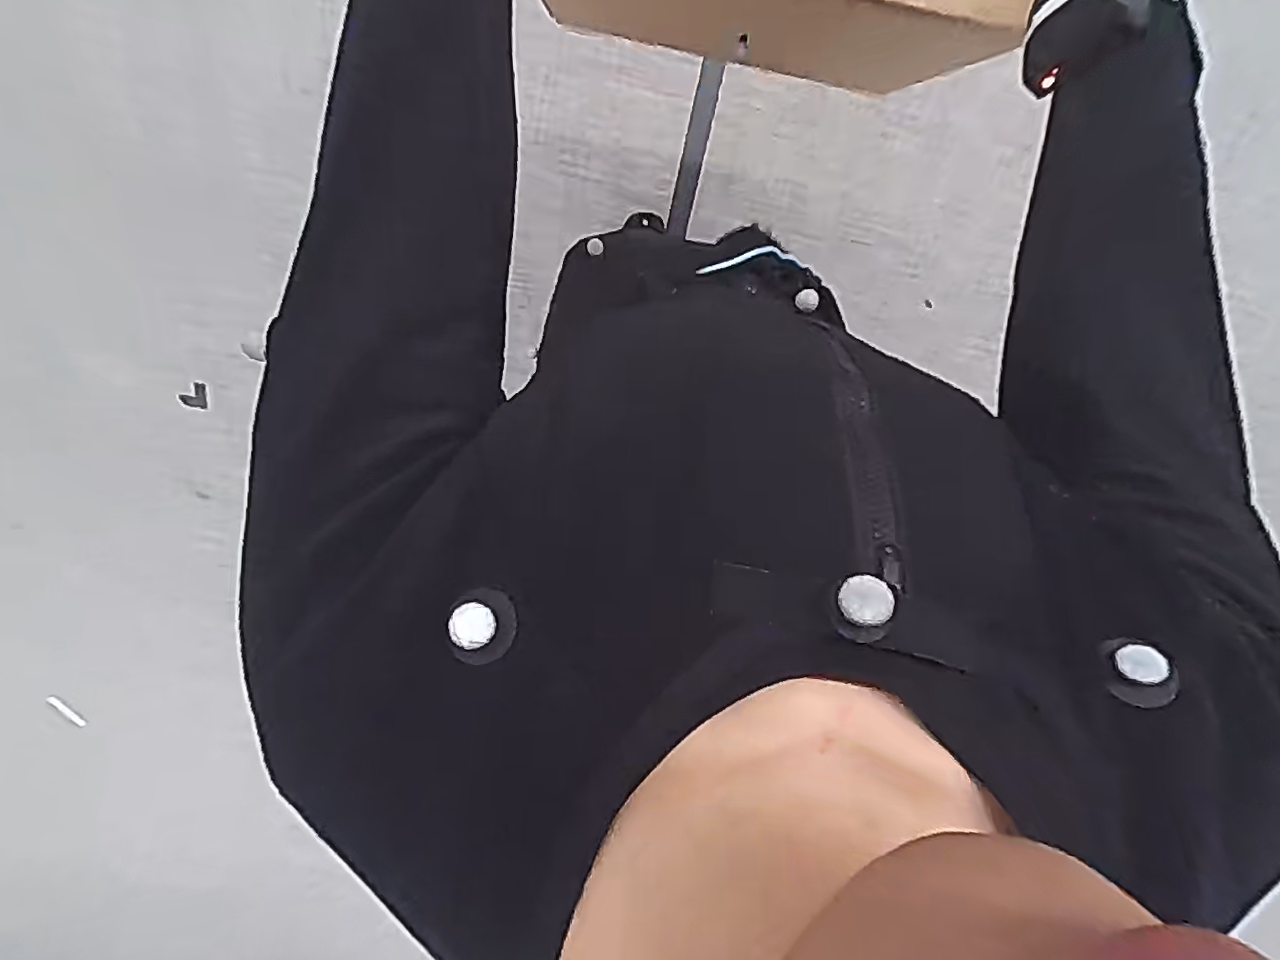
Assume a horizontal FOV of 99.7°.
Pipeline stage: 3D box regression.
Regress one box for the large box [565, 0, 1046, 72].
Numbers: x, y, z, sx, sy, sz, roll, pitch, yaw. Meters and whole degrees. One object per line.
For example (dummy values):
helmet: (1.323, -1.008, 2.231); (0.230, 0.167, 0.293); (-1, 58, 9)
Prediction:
large box: (0.129, -0.574, 0.437); (0.408, 0.320, 0.320); (10, 118, -5)
